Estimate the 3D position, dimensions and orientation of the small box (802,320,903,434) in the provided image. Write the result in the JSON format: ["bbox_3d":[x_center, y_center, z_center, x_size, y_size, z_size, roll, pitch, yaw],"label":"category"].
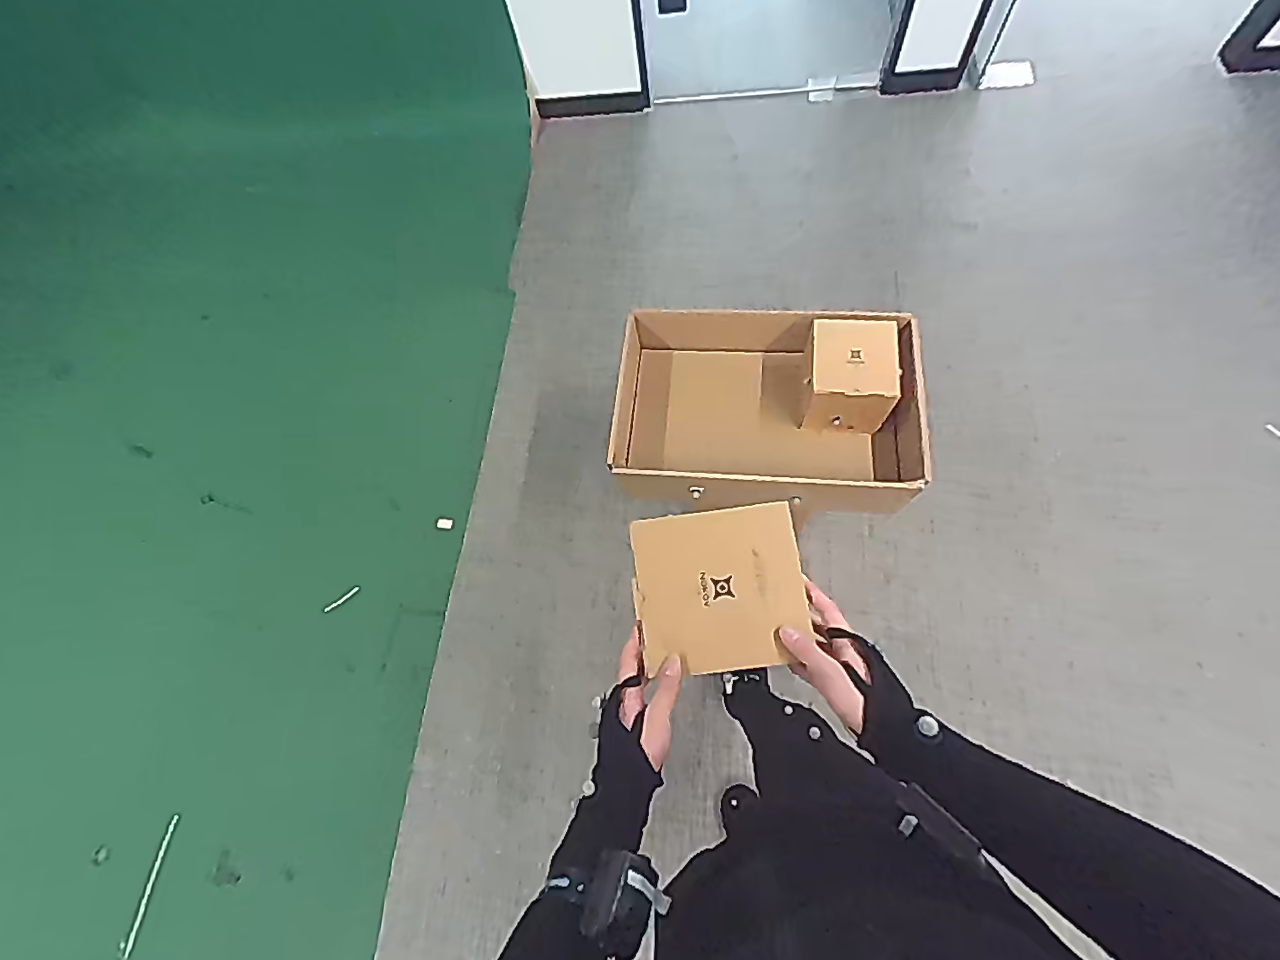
[{"bbox_3d":[0.444,-0.216,1.151,0.168,0.176,0.179,5,71,9],"label":"small box"}]

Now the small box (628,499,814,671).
[{"bbox_3d":[0.088,0.128,0.638,0.179,0.176,0.168,-7,75,4],"label":"small box"}]
